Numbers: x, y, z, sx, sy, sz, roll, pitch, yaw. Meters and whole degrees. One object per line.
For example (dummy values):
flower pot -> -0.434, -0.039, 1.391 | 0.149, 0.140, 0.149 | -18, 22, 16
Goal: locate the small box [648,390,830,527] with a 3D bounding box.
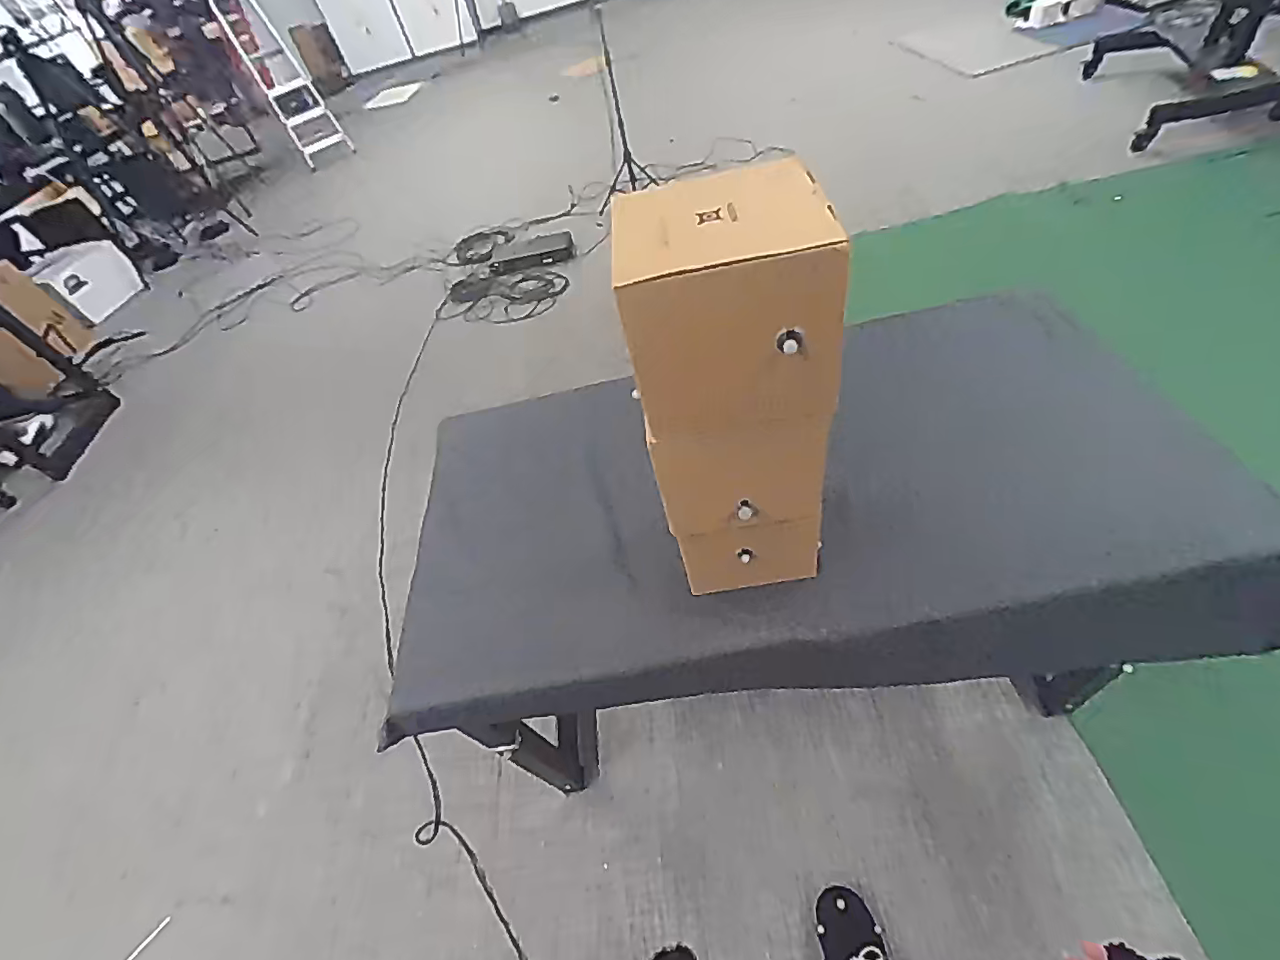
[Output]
small box -> 0.105, -0.064, 0.631 | 0.179, 0.176, 0.168 | -10, 49, 6

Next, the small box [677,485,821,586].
small box -> 0.141, 0.030, 0.759 | 0.179, 0.176, 0.168 | -11, 49, 7

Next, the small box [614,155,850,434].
small box -> 0.079, -0.166, 0.507 | 0.179, 0.176, 0.168 | -10, 48, 8
